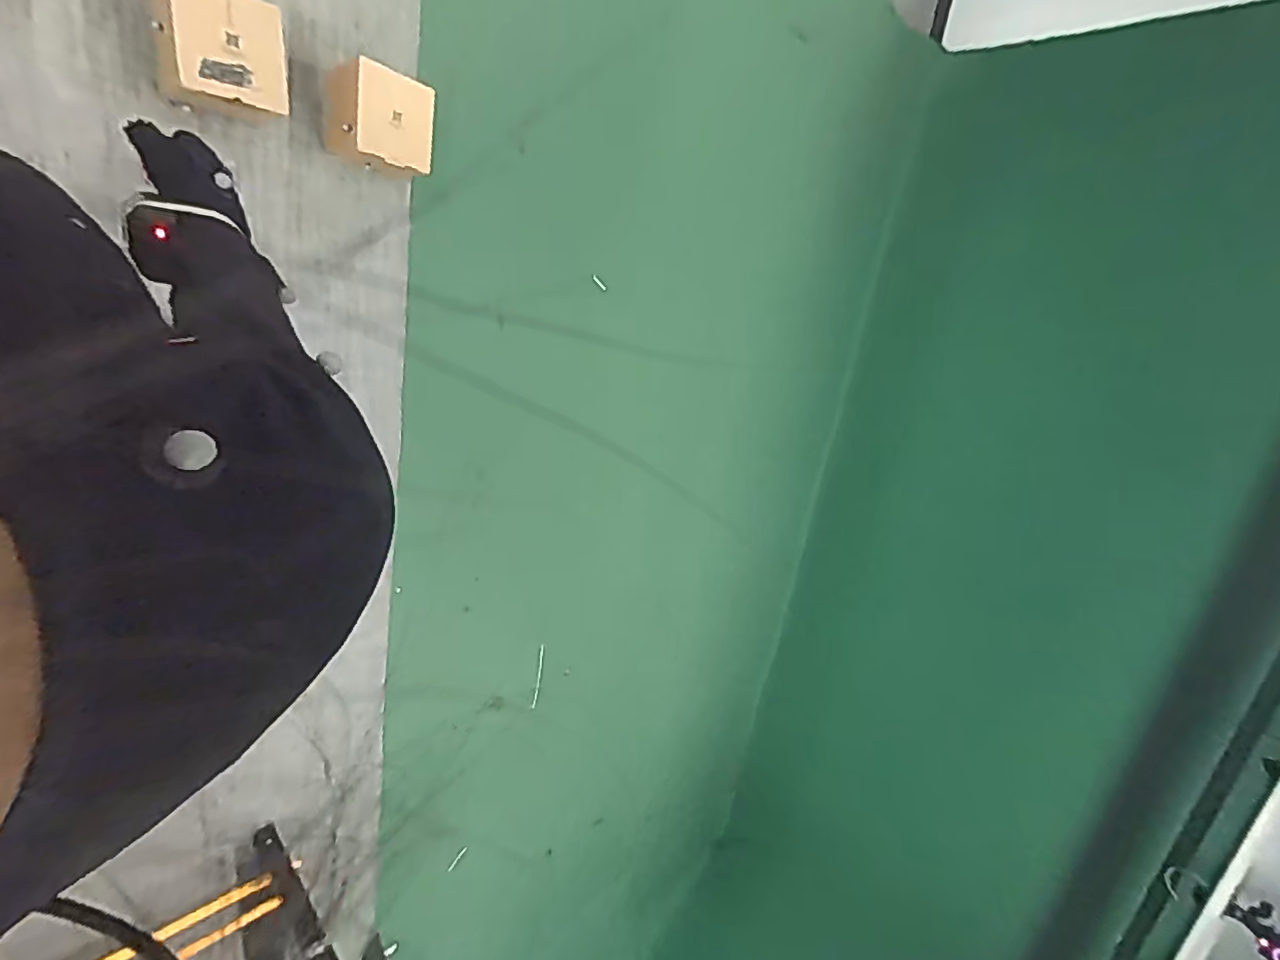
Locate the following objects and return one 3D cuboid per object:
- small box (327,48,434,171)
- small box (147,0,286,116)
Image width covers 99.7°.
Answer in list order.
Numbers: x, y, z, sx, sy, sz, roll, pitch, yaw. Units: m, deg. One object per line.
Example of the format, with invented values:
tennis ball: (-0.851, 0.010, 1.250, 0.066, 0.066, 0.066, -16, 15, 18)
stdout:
small box: (-0.585, -0.818, 1.214, 0.168, 0.176, 0.179, -8, 114, -48)
small box: (-0.774, -0.796, 0.991, 0.168, 0.176, 0.179, -14, 117, -47)
